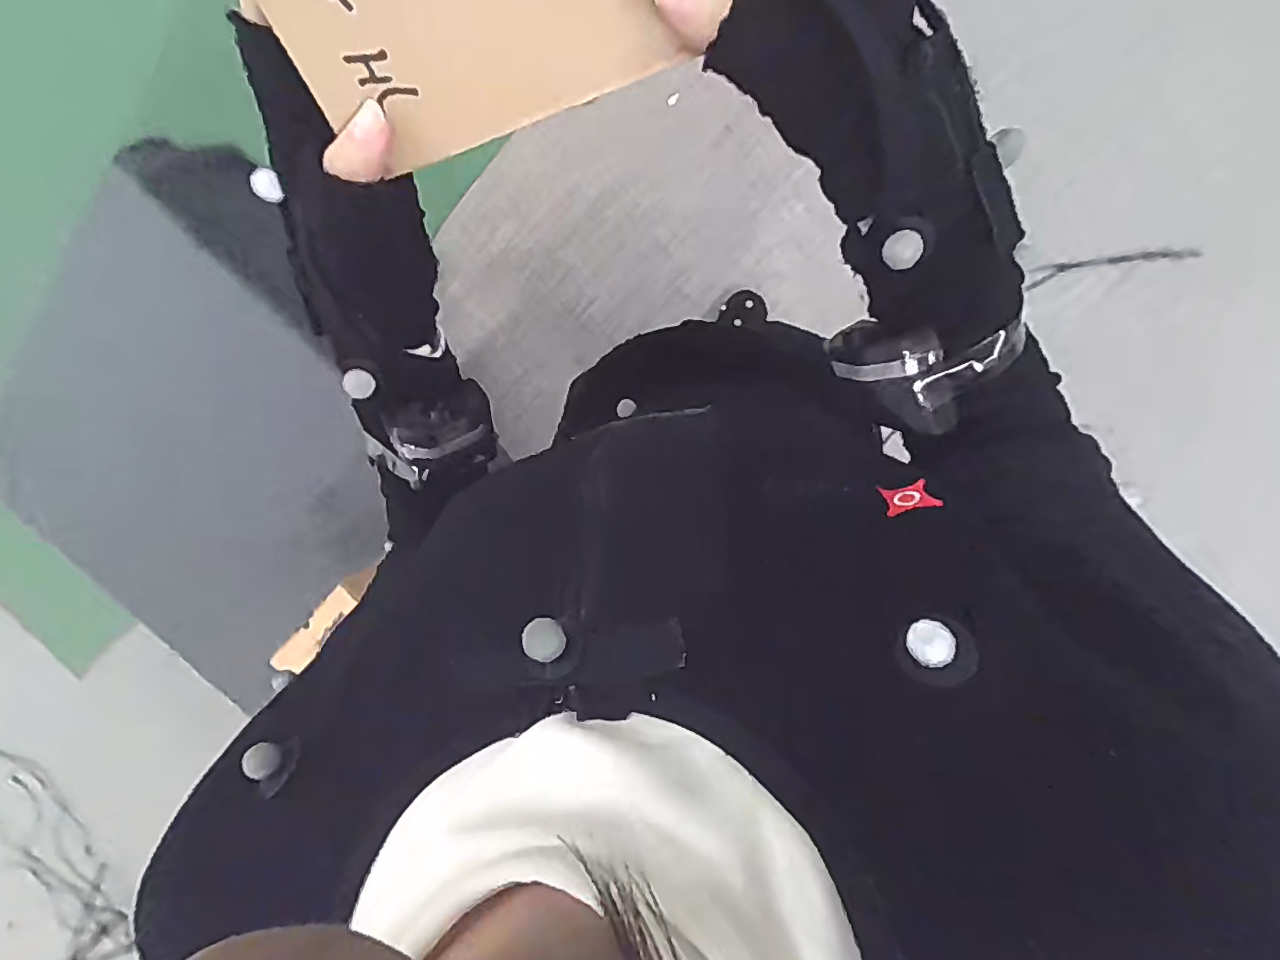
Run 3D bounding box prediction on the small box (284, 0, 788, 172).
[{"bbox_3d":[-0.052,-0.260,0.219,0.179,0.176,0.168,-13,132,10],"label":"small box"}]
